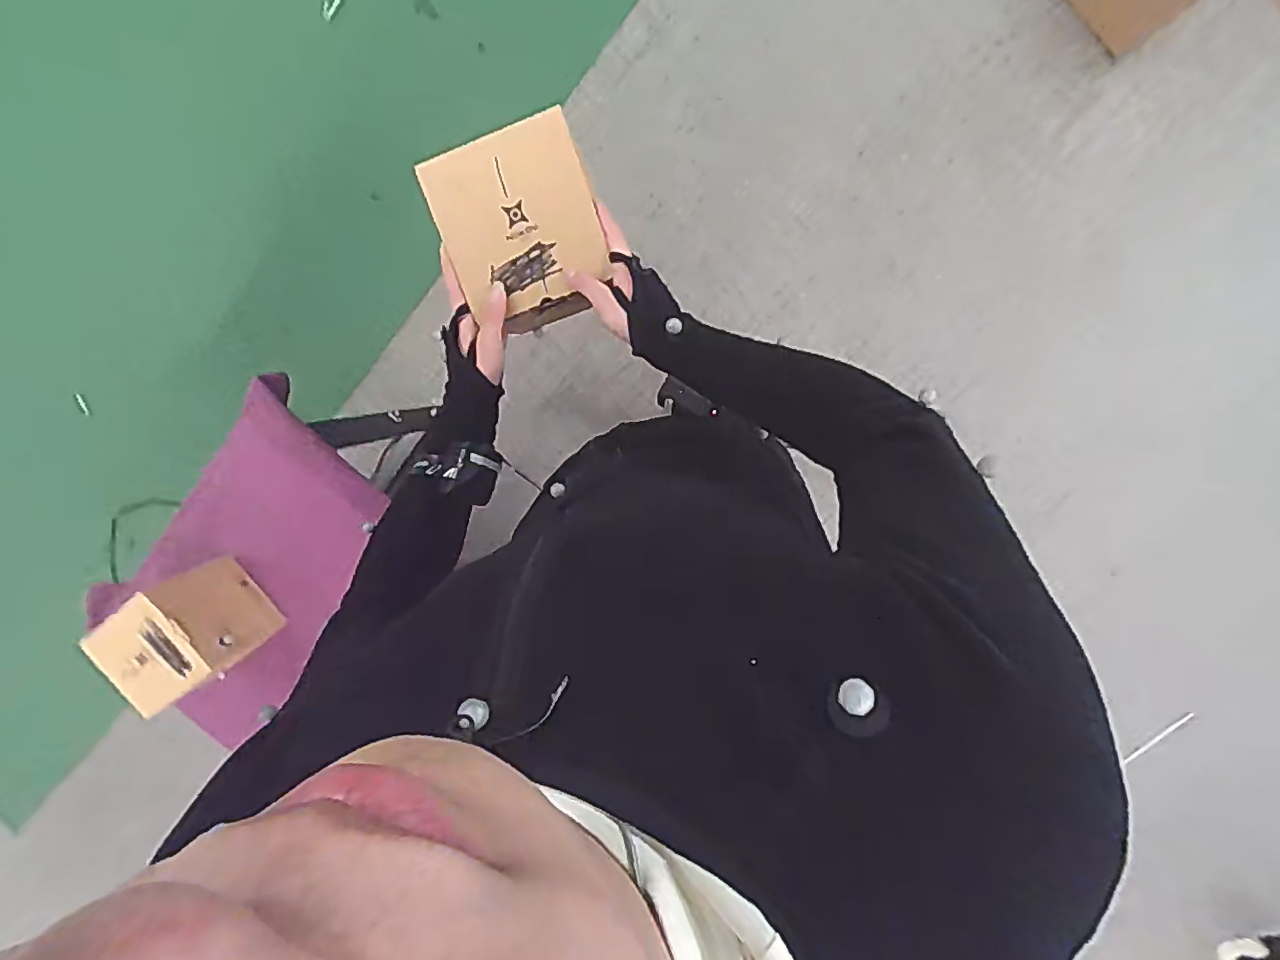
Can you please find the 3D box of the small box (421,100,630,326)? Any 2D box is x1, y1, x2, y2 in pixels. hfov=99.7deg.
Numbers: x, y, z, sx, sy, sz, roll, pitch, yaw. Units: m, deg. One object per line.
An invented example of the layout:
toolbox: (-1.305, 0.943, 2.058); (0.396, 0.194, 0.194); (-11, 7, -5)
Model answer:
small box: (-0.117, -0.291, 0.637); (0.168, 0.176, 0.179); (-18, 102, 7)
